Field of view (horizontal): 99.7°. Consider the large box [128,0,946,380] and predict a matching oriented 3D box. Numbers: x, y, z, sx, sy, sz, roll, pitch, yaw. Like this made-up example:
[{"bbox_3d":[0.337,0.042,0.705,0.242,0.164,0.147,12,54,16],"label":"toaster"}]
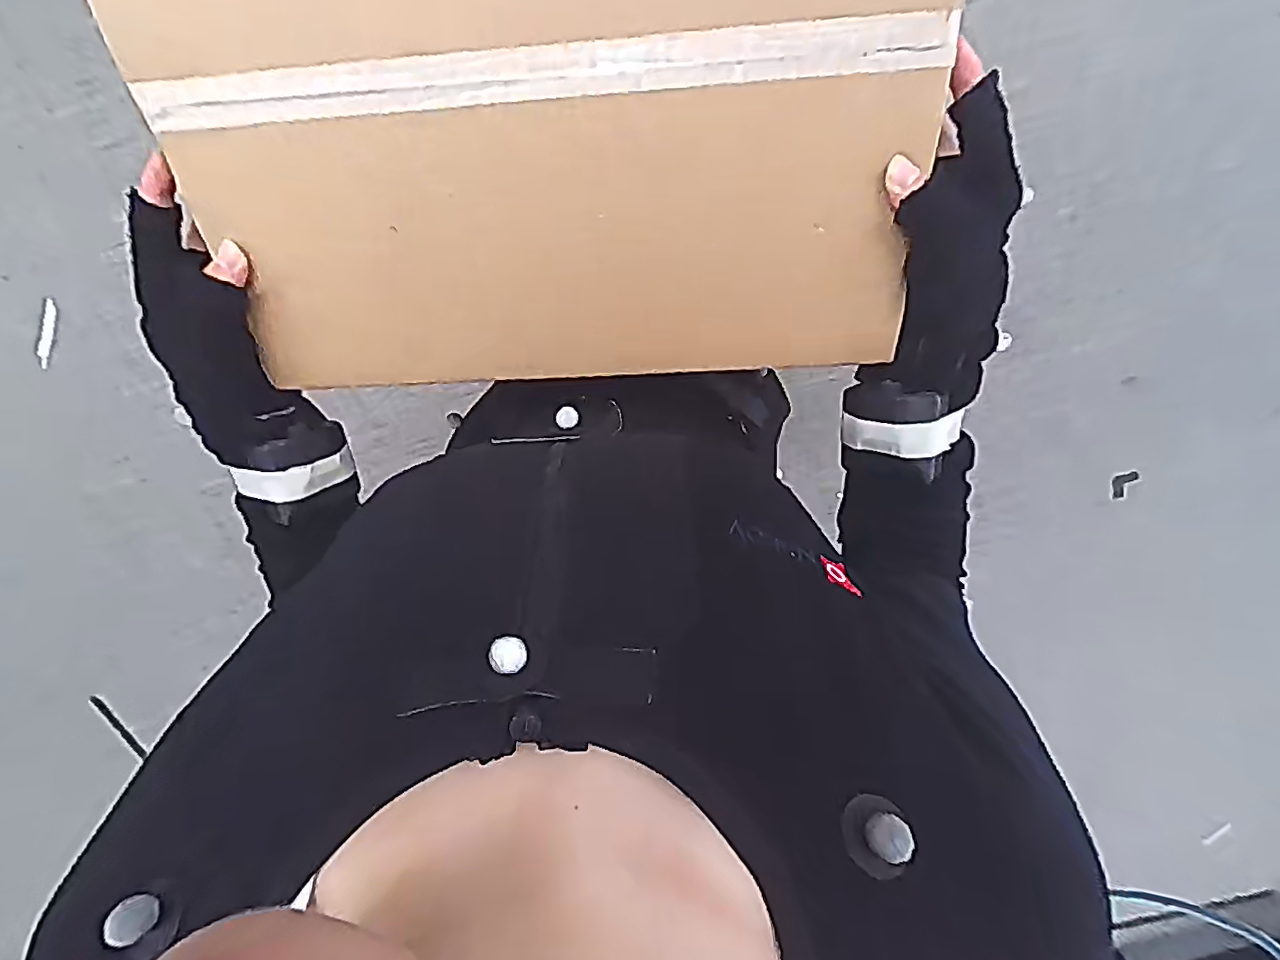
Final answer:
[{"bbox_3d":[-0.048,-0.285,0.401,0.408,0.320,0.320,-2,123,3],"label":"large box"}]
